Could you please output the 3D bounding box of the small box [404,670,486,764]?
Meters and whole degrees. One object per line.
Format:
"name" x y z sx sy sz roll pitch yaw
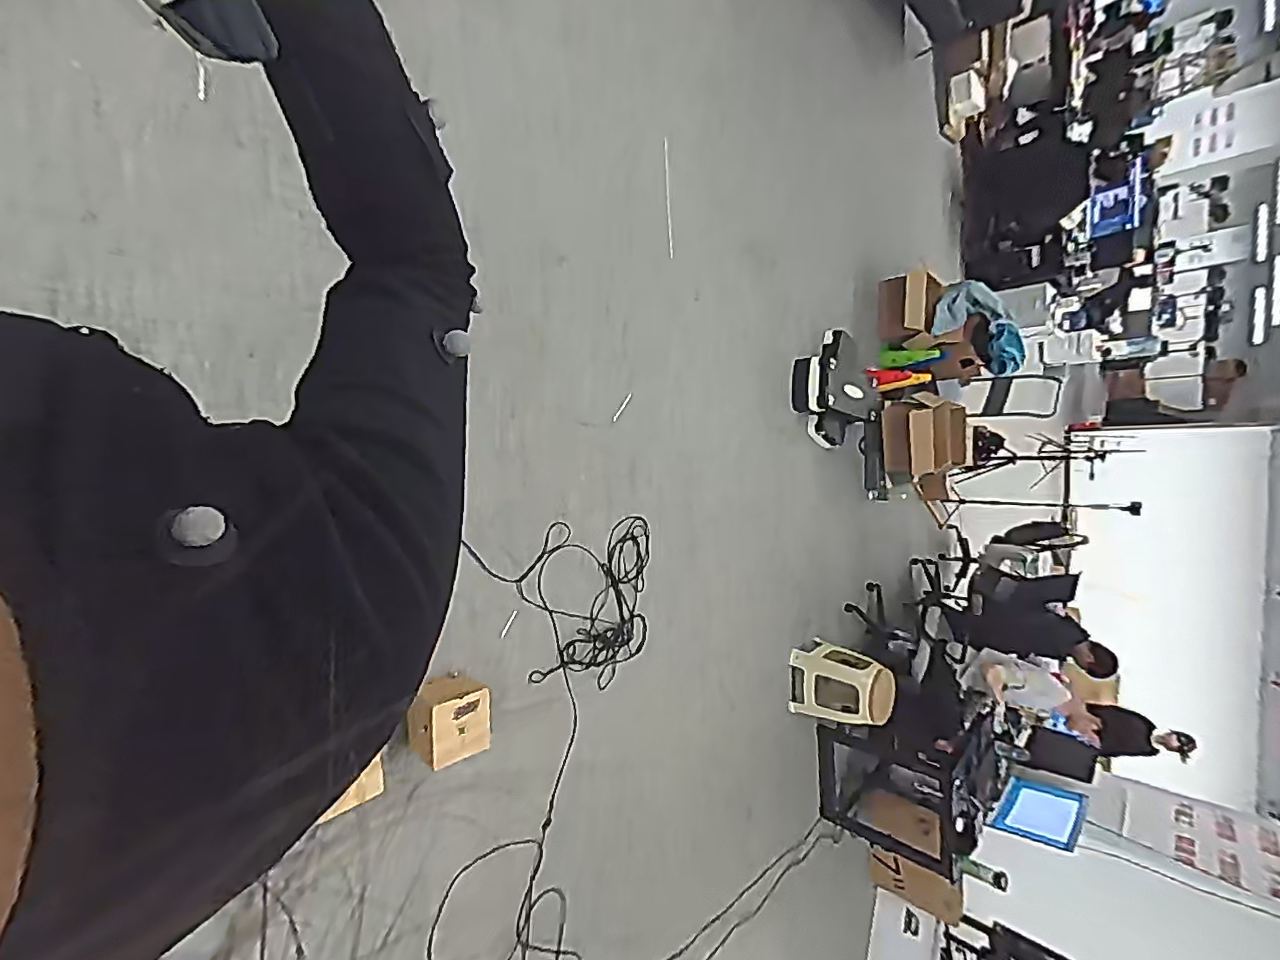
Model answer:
"small box" -0.547 0.648 1.511 0.168 0.176 0.179 -3 94 -46
